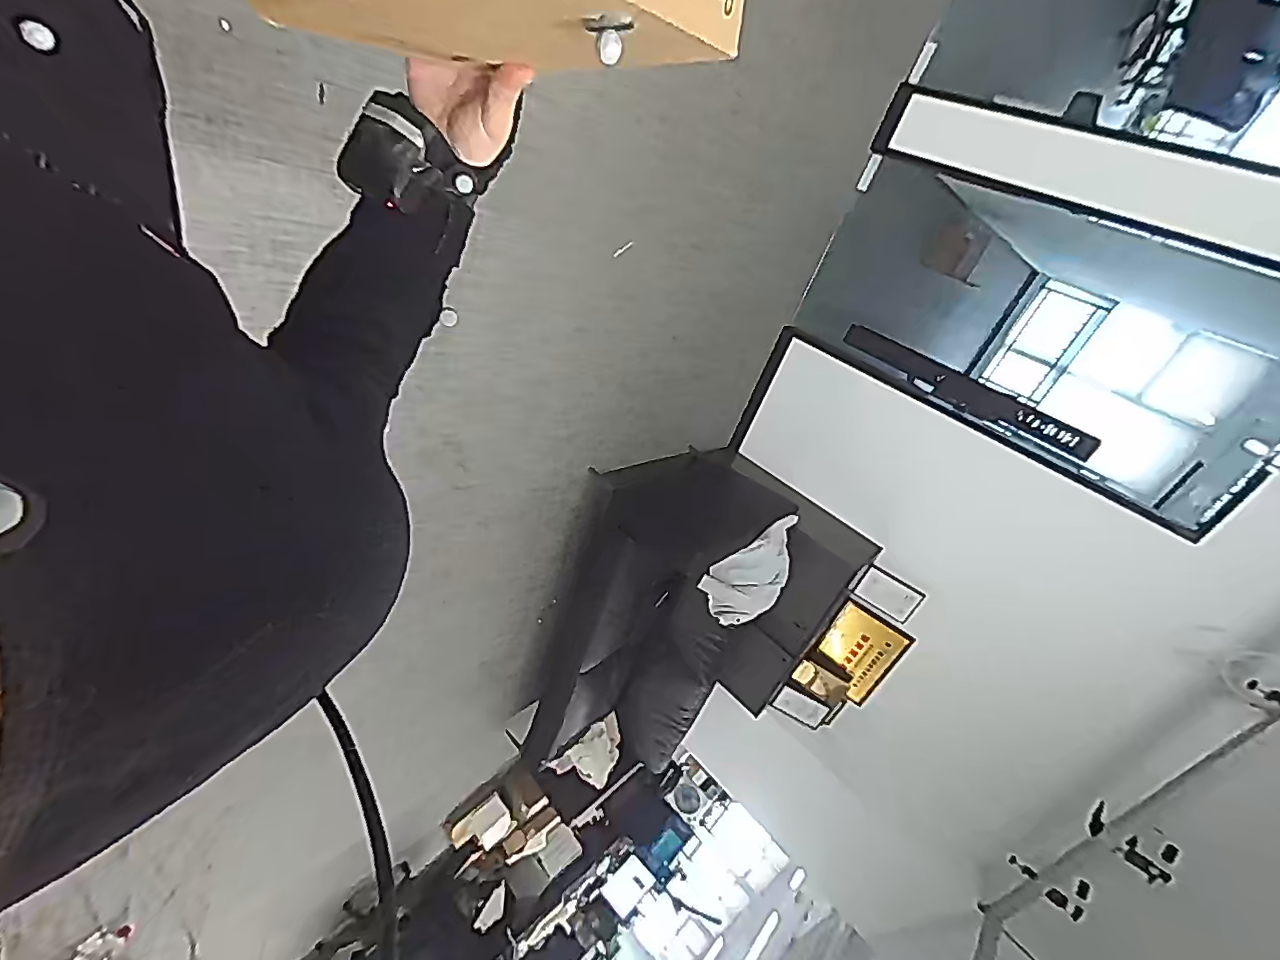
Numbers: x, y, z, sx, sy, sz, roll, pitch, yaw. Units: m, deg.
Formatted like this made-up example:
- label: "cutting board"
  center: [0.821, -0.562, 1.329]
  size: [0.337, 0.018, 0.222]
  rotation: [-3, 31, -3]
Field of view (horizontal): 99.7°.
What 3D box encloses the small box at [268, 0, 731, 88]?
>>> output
- label: "small box"
  center: [-0.062, -0.291, 0.233]
  size: [0.168, 0.176, 0.179]
  rotation: [-42, 140, -50]
